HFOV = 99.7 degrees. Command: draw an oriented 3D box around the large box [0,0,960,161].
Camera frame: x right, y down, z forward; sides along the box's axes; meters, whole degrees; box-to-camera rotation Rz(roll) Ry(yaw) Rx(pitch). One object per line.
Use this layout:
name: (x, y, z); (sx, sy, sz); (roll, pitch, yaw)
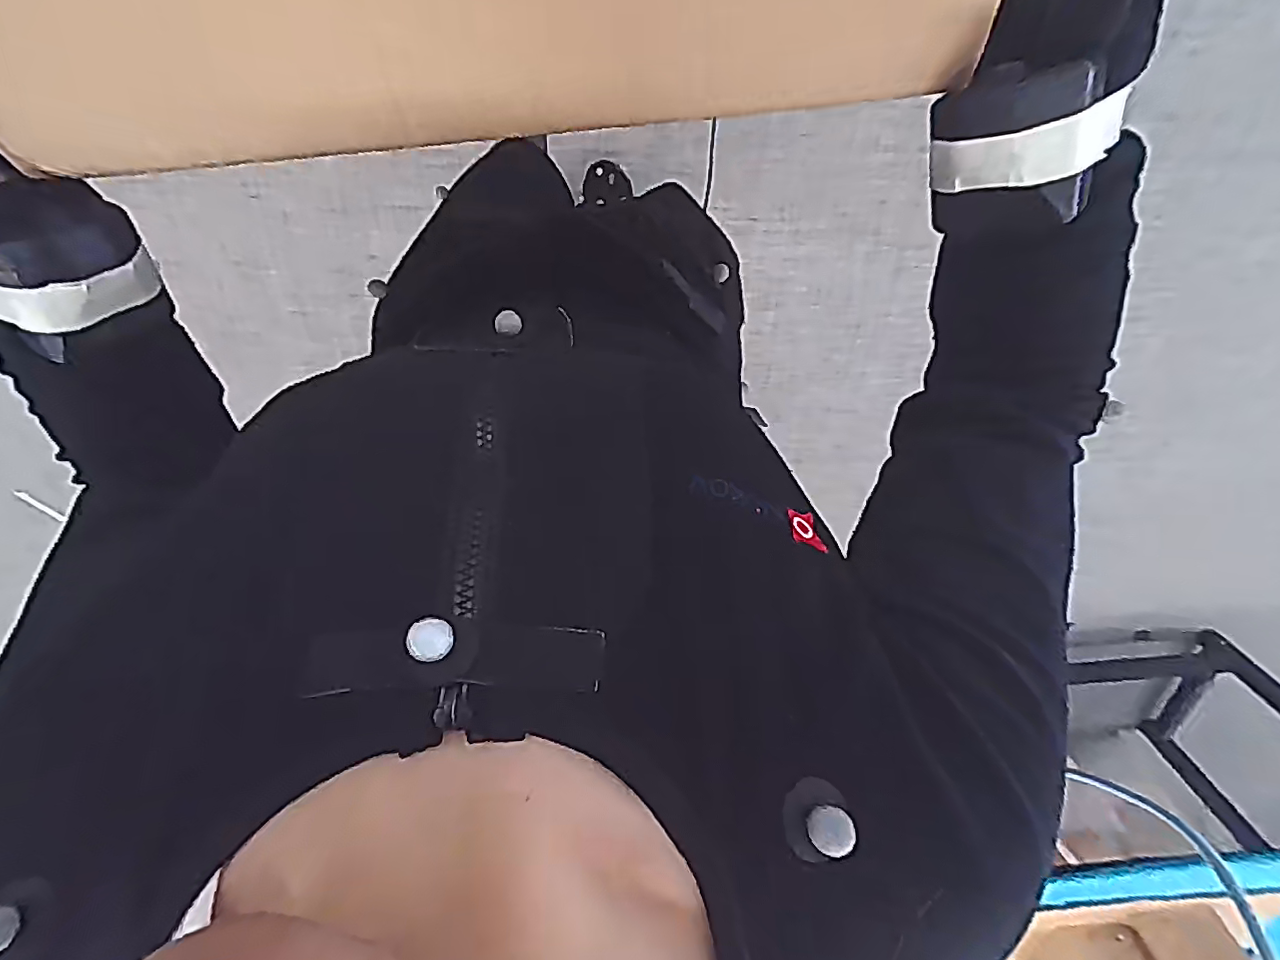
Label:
large box: (-0.084, -0.372, 0.208); (0.408, 0.320, 0.320); (-6, 142, -1)
